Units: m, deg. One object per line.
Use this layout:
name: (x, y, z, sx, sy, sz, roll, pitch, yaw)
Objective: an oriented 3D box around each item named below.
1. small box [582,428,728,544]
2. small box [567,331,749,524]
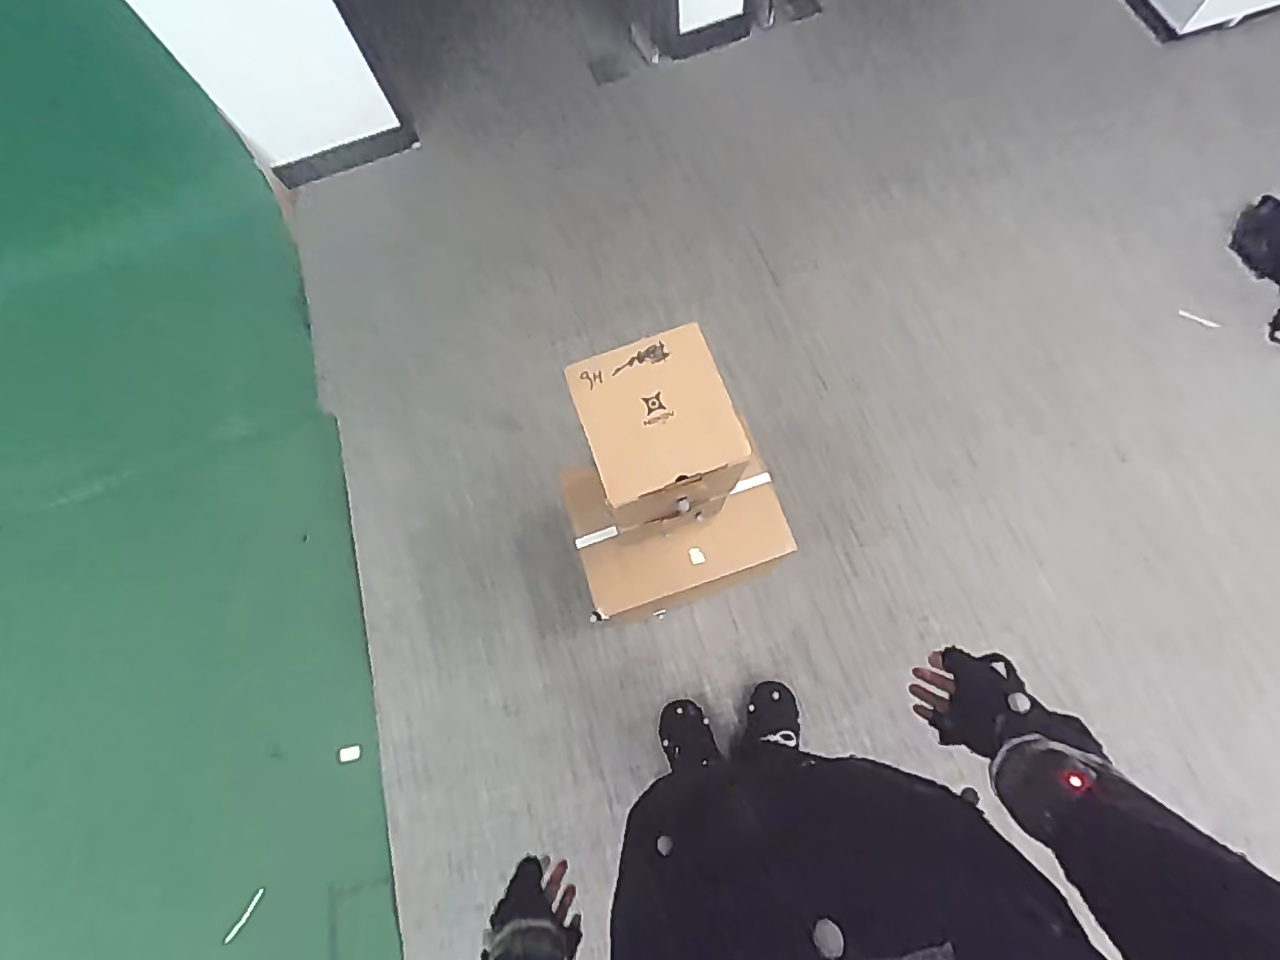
small box: (0.024, -0.007, 0.843, 0.168, 0.176, 0.179, -20, 76, -2)
small box: (0.023, -0.052, 0.685, 0.168, 0.176, 0.179, -19, 77, -2)
